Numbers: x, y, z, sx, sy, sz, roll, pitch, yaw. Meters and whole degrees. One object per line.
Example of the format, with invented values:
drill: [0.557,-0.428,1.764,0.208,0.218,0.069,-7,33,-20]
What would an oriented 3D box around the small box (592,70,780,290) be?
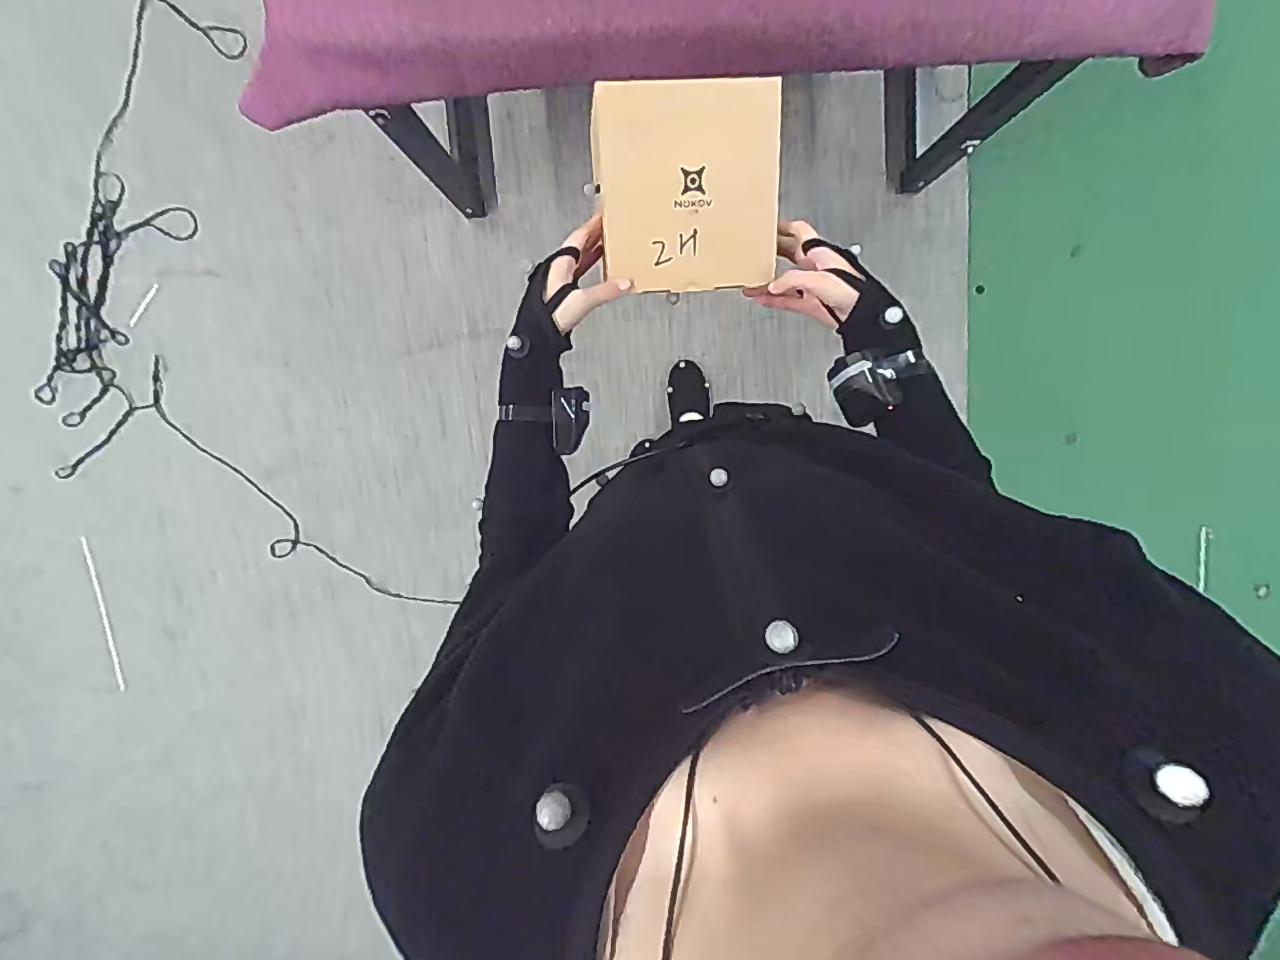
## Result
small box: [0.037,-0.295,0.567,0.168,0.176,0.179,-4,110,-4]
